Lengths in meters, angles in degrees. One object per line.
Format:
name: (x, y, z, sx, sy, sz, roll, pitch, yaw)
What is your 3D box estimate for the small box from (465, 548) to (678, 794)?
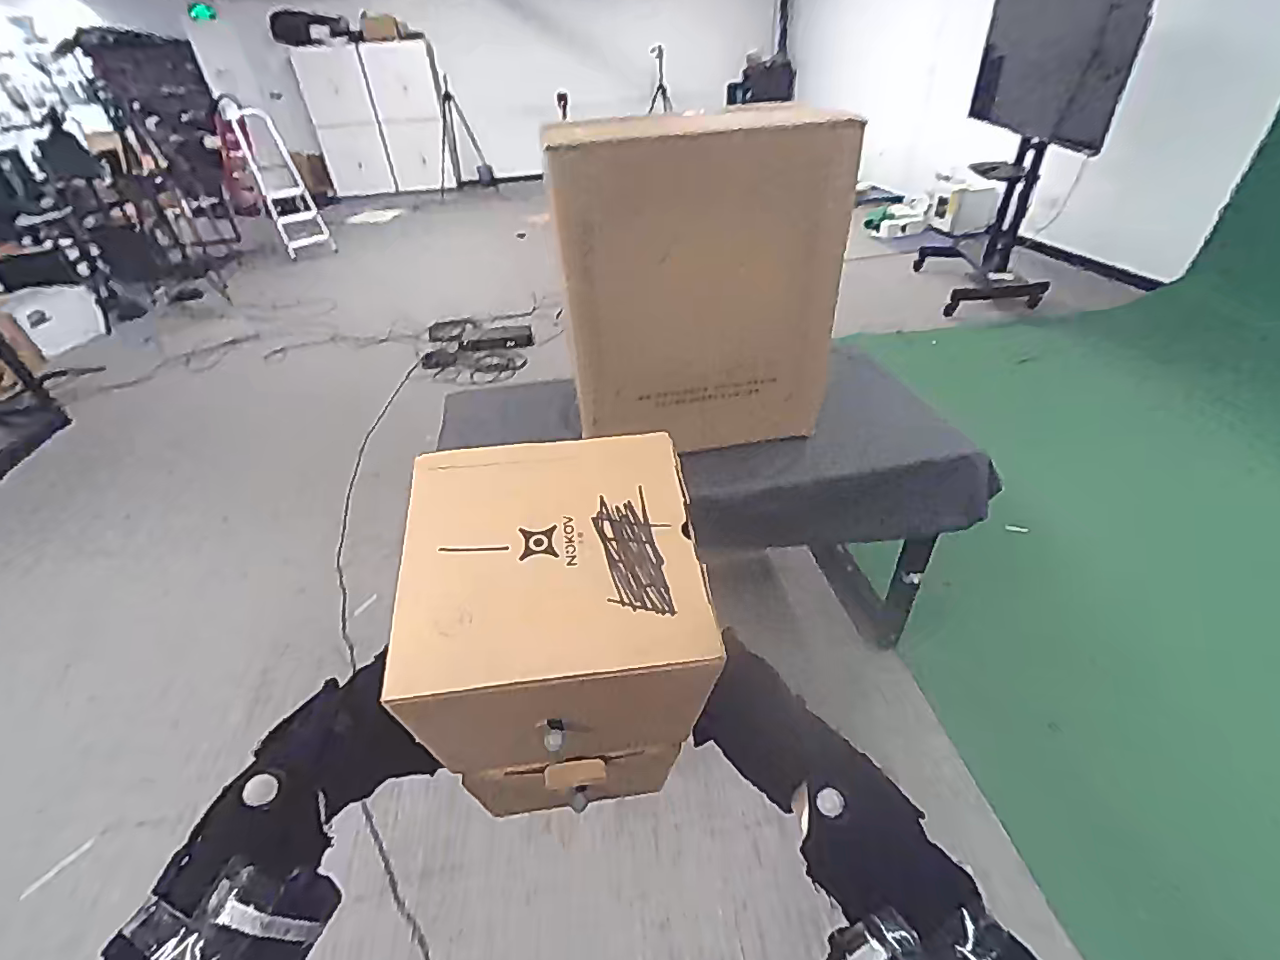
small box: (-0.065, 0.188, 0.520, 0.168, 0.176, 0.179, -4, 52, -9)
